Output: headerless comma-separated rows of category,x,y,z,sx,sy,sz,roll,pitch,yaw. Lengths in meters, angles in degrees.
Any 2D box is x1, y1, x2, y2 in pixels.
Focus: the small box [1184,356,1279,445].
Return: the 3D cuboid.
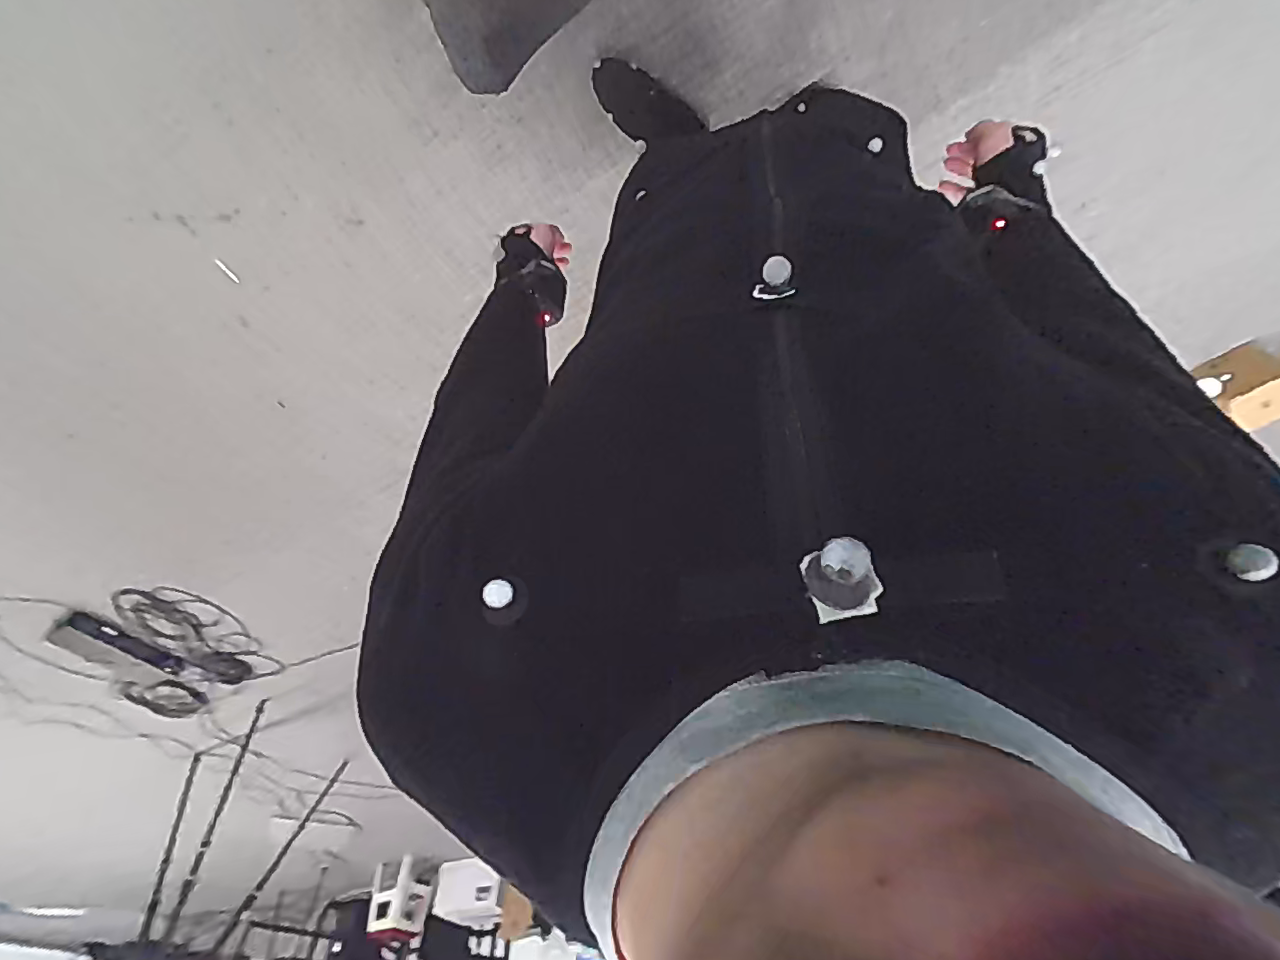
small box,1.790,-0.245,1.617,0.168,0.176,0.179,-34,125,25
